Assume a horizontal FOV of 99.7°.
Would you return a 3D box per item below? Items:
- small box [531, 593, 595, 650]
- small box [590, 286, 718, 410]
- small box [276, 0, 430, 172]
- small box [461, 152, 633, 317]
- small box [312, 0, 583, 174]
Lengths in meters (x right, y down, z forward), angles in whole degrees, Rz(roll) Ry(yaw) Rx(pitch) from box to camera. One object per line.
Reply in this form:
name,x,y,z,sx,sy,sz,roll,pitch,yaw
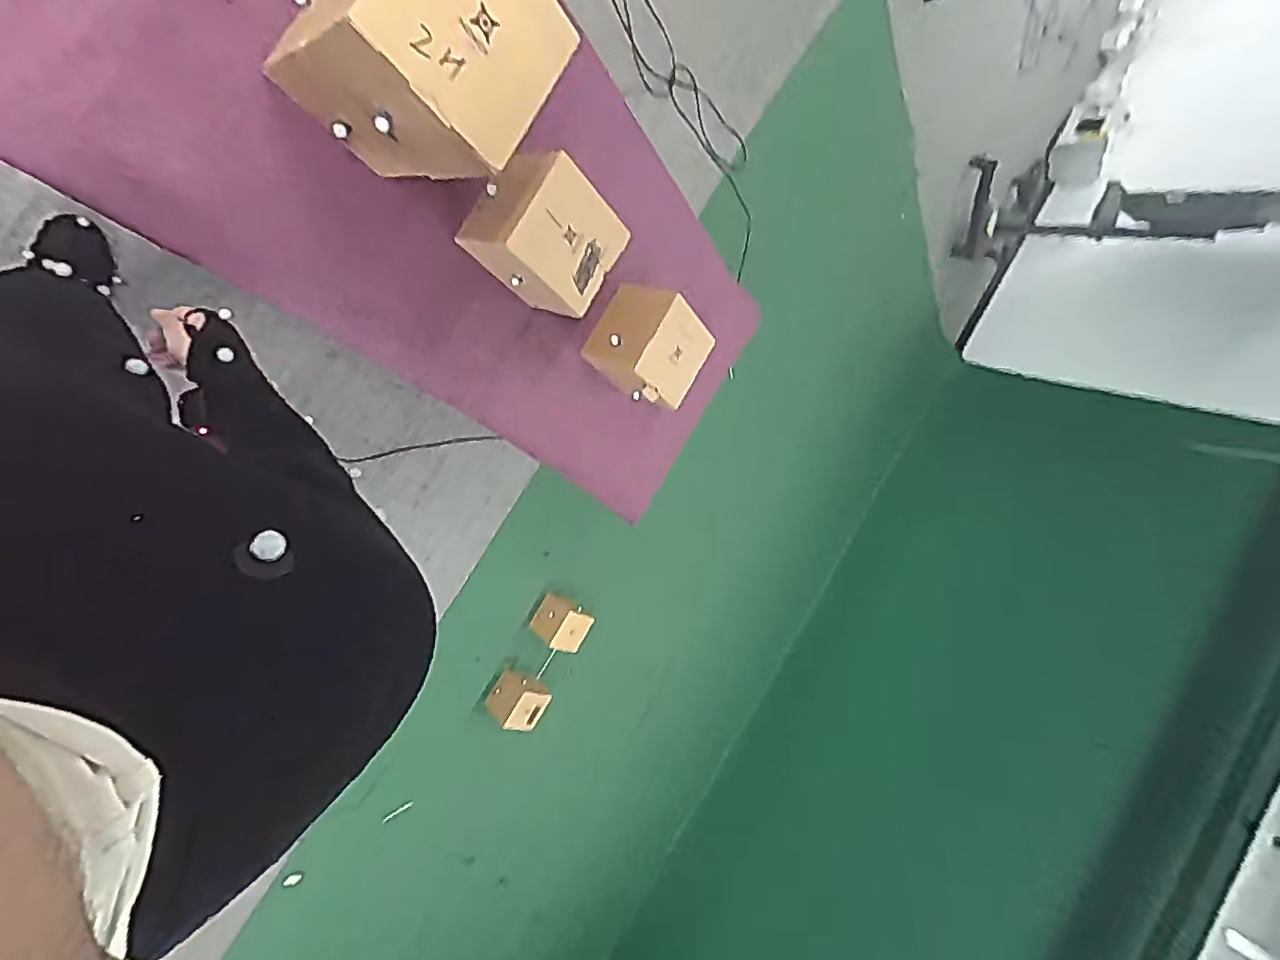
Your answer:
small box,-0.334,0.606,2.327,0.179,0.176,0.168,36,84,-49
small box,0.022,-0.276,1.118,0.168,0.176,0.179,36,84,-49
small box,-0.309,-0.507,0.659,0.168,0.176,0.179,34,86,-49
small box,-0.151,-0.396,0.877,0.179,0.176,0.168,34,85,-48
small box,-0.198,-0.446,0.552,0.168,0.176,0.179,34,86,-48
